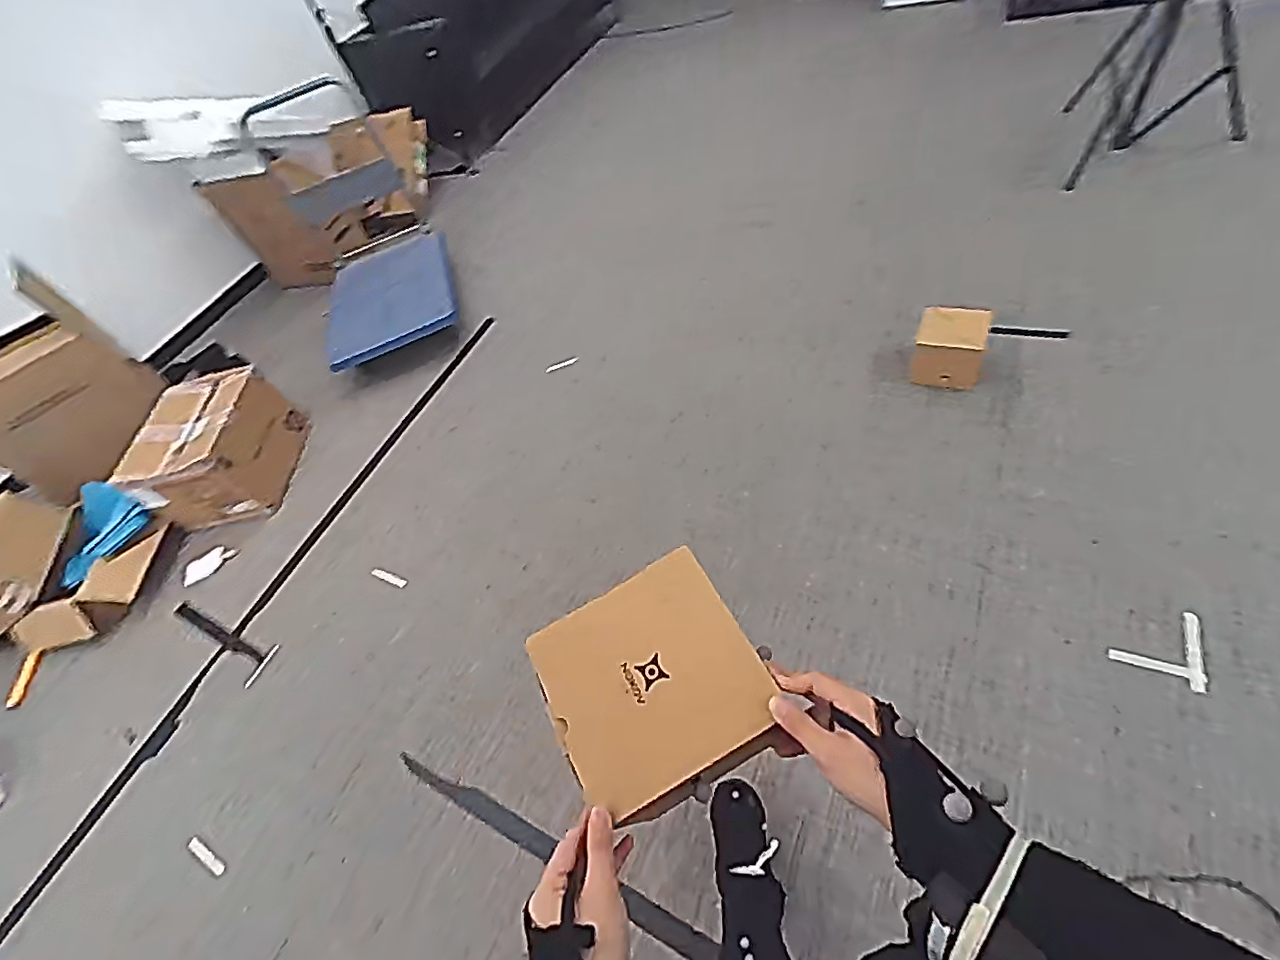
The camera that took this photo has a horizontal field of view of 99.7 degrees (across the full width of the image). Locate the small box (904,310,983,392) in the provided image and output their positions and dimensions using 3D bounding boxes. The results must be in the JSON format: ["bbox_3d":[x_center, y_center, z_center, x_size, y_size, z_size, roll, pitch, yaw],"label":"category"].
[{"bbox_3d":[0.920,-0.393,1.639,0.179,0.176,0.168,14,61,25],"label":"small box"}]

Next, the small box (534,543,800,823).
[{"bbox_3d":[0.031,0.193,0.517,0.179,0.176,0.168,-31,58,-1],"label":"small box"}]
